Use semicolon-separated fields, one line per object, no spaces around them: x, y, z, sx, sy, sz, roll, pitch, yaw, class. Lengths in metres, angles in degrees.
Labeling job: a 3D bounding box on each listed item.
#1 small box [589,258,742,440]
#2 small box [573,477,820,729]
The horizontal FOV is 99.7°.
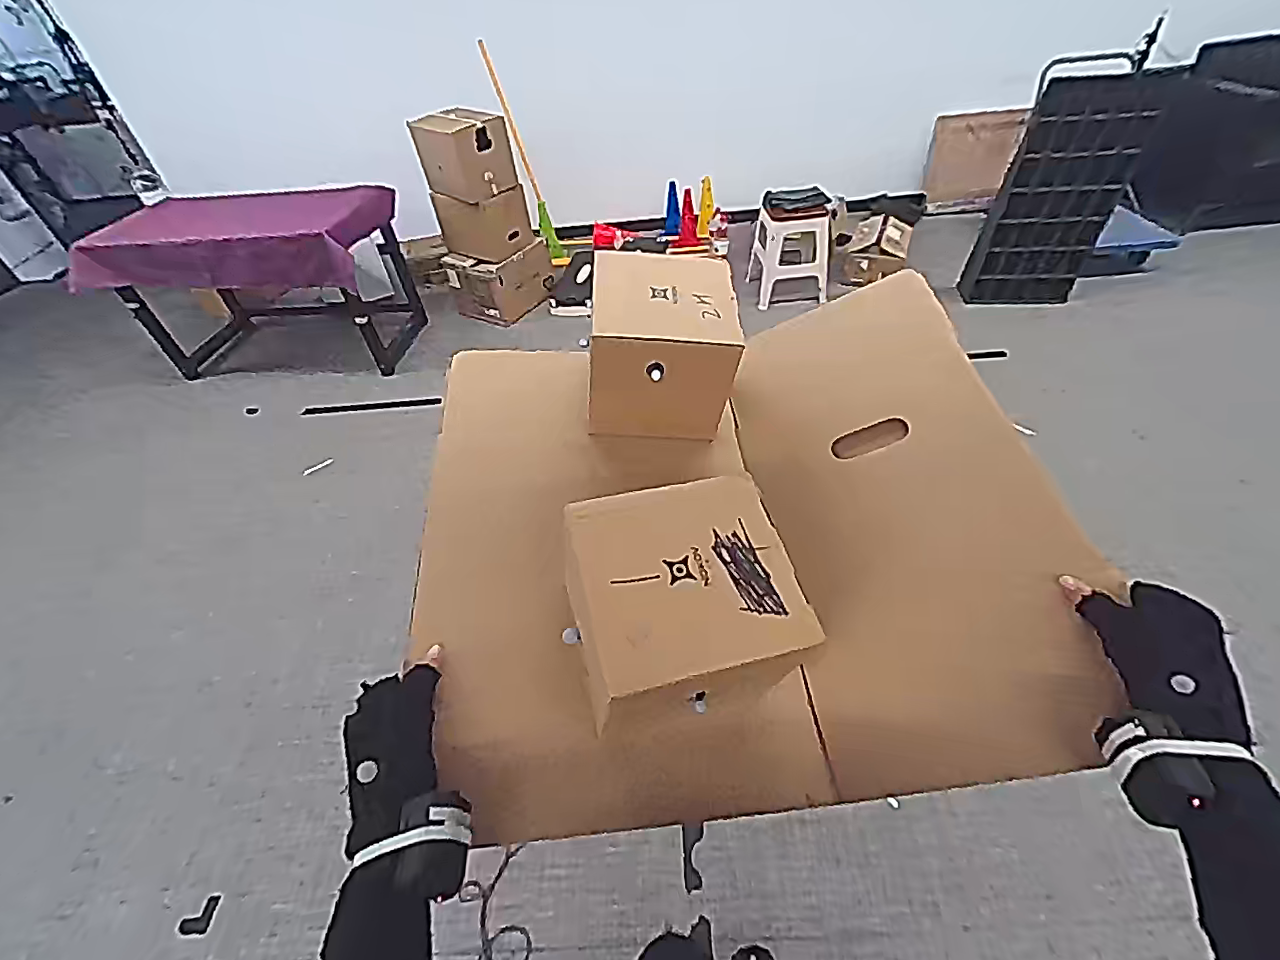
0.023;-0.169;0.720;0.179;0.176;0.168;3;55;-6;small box
0.034;0.120;0.518;0.179;0.176;0.168;-10;57;-13;small box
